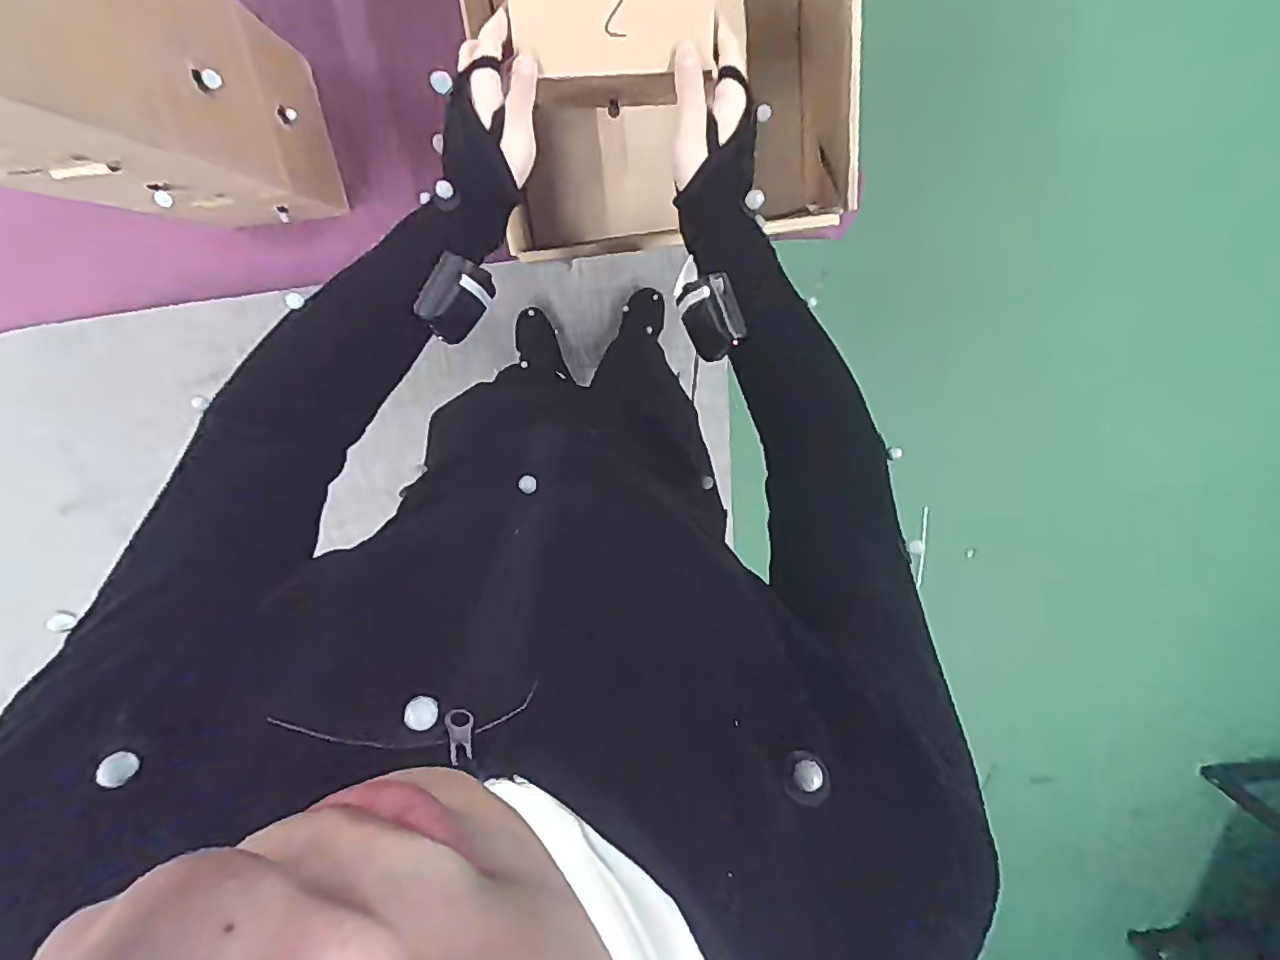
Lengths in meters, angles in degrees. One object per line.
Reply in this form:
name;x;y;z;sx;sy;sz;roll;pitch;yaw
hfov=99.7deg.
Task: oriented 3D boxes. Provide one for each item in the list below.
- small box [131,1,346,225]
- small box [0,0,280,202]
small box;-0.472;-0.400;0.625;0.168;0.176;0.179;-8;109;-3
small box;-0.457;-0.350;0.470;0.168;0.176;0.179;-8;110;-4
